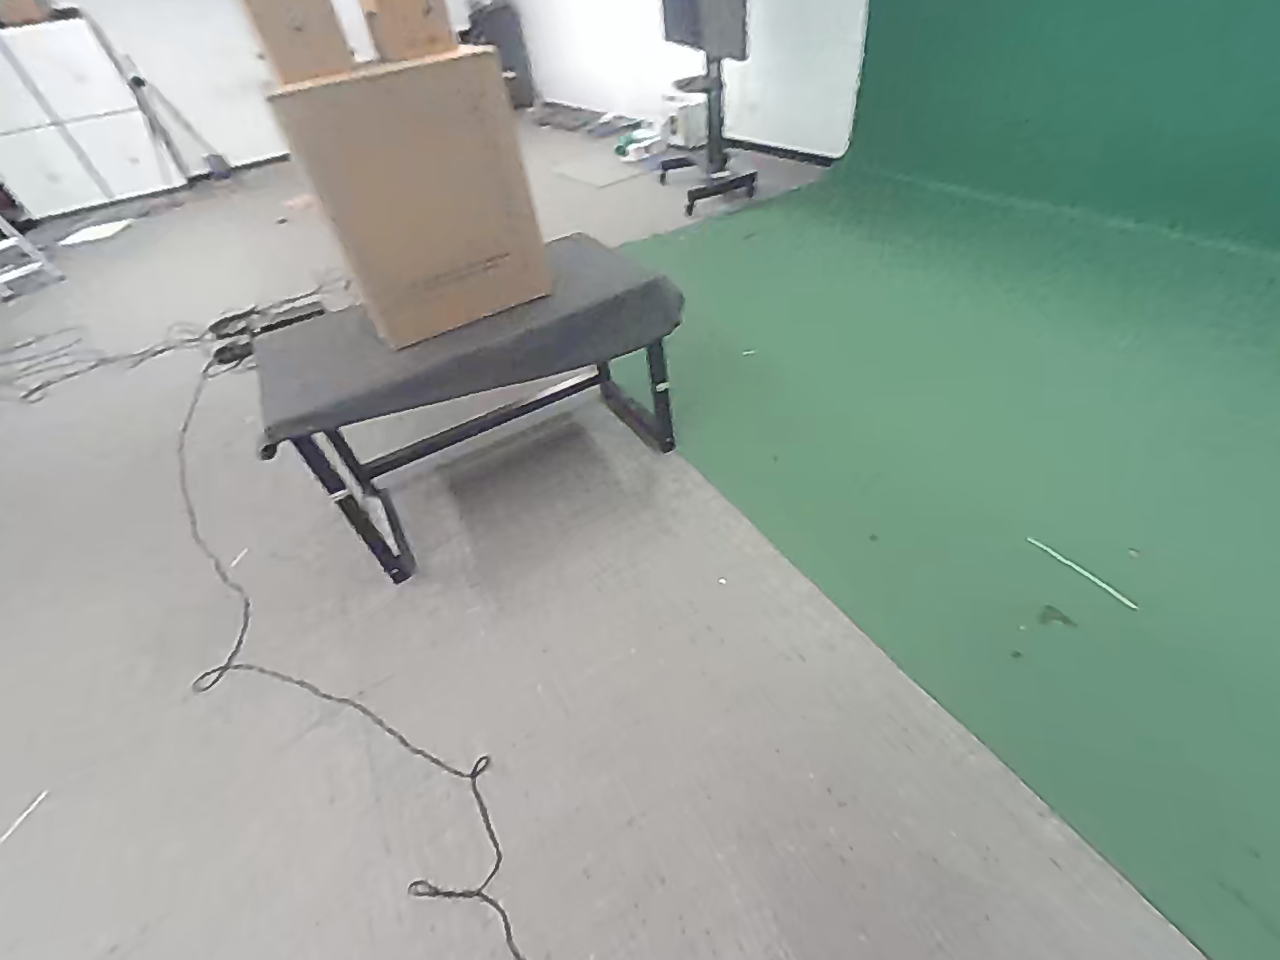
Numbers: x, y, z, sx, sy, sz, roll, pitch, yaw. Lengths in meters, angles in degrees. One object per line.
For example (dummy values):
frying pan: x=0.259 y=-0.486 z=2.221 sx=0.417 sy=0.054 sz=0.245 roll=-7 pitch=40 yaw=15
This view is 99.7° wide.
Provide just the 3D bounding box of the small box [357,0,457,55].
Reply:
small box: x=-0.566 y=-1.142 z=1.299 sx=0.168 sy=0.176 sz=0.179 roll=-33 pitch=51 yaw=-22

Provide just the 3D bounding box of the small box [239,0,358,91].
small box: x=-0.772 y=-1.017 z=1.233 sx=0.179 sy=0.176 sz=0.168 roll=-31 pitch=49 yaw=-18
